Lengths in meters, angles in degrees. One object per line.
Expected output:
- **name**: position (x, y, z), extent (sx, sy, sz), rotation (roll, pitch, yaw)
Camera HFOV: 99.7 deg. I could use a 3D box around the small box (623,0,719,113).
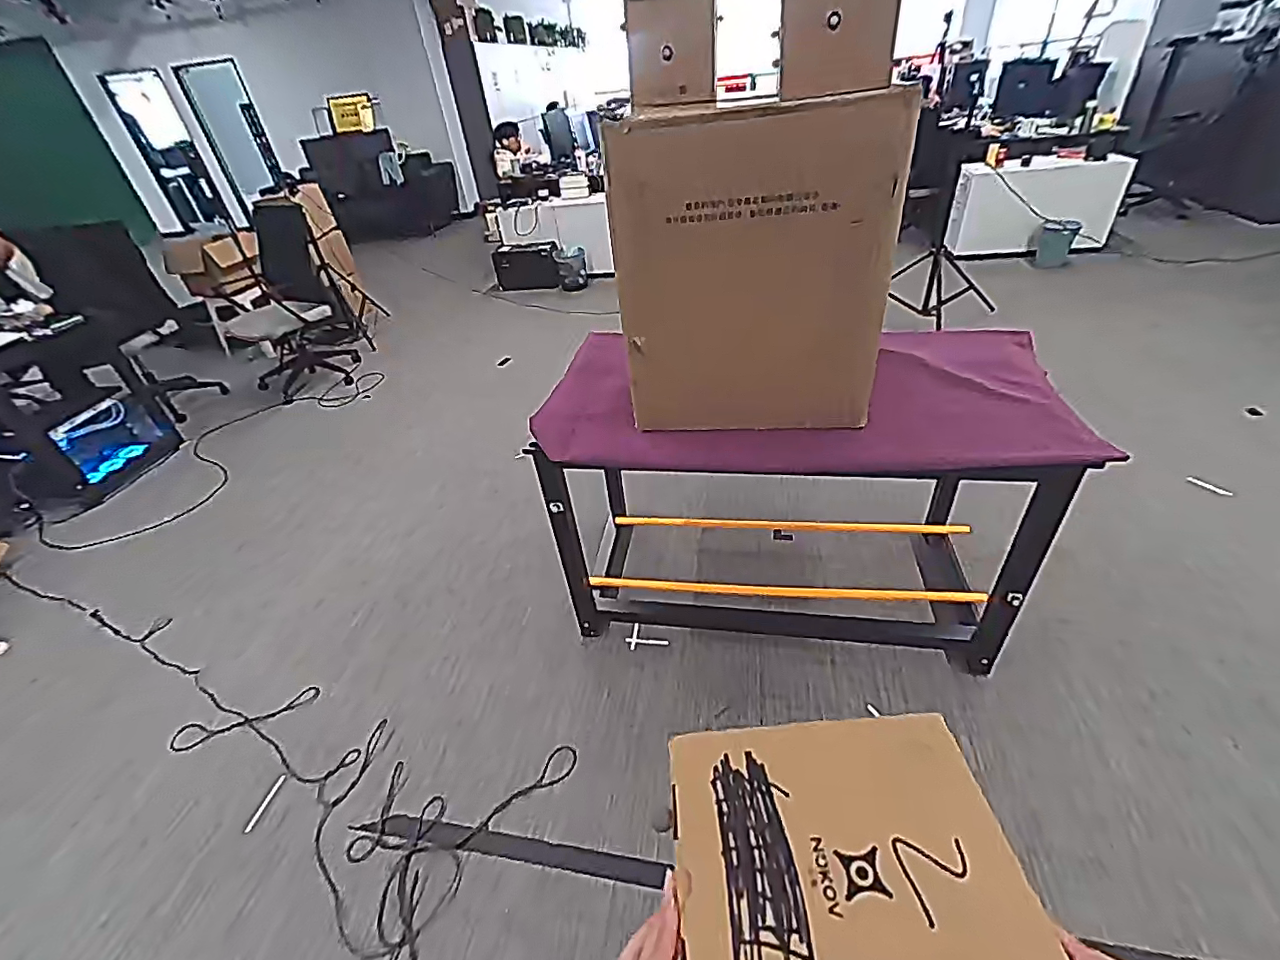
- **small box**: position (0.069, -0.837, 1.071), extent (0.168, 0.176, 0.179), rotation (2, 38, 9)
